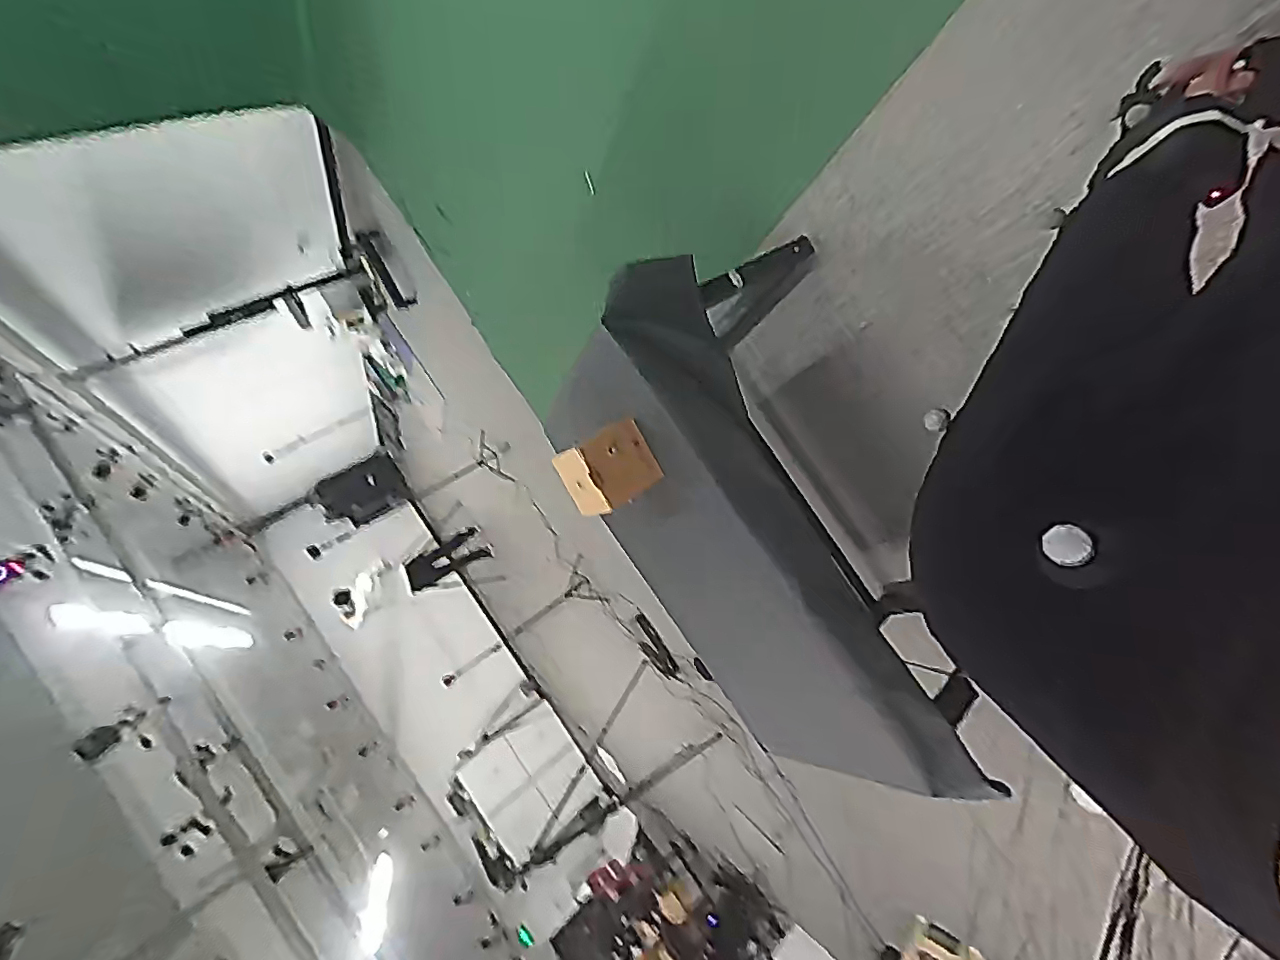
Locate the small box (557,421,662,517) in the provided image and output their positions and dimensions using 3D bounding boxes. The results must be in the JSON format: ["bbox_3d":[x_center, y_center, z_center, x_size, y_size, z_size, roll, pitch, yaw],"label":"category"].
[{"bbox_3d":[-0.069,-0.027,1.308,0.168,0.176,0.179,62,154,-7],"label":"small box"}]
